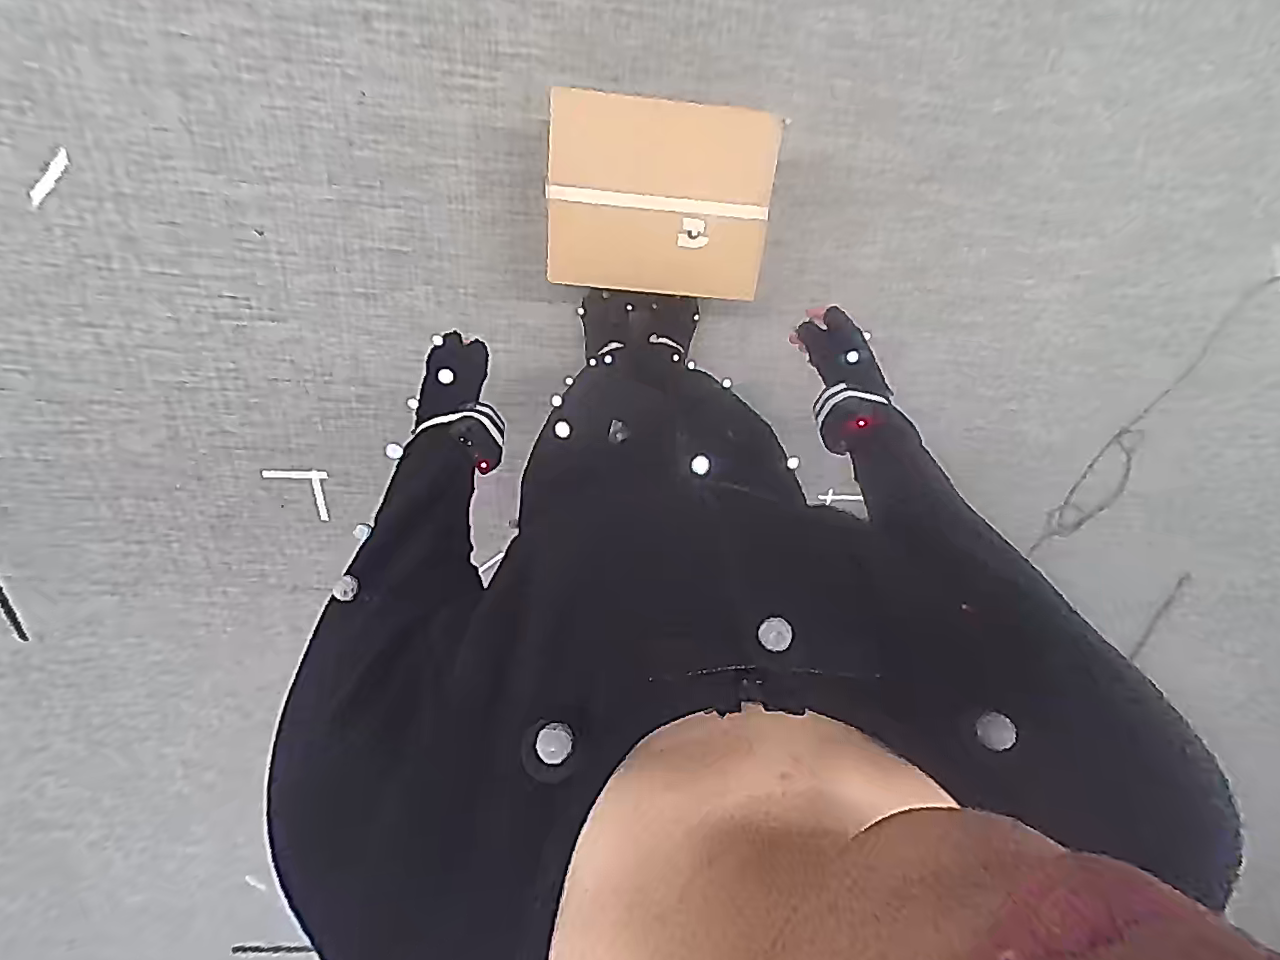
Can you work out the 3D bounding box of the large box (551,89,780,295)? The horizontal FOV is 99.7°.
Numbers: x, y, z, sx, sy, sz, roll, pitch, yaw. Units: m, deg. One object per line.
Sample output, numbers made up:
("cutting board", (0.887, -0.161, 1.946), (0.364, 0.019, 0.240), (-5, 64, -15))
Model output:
("large box", (0.027, -0.573, 1.121), (0.408, 0.320, 0.320), (3, 116, -5))
